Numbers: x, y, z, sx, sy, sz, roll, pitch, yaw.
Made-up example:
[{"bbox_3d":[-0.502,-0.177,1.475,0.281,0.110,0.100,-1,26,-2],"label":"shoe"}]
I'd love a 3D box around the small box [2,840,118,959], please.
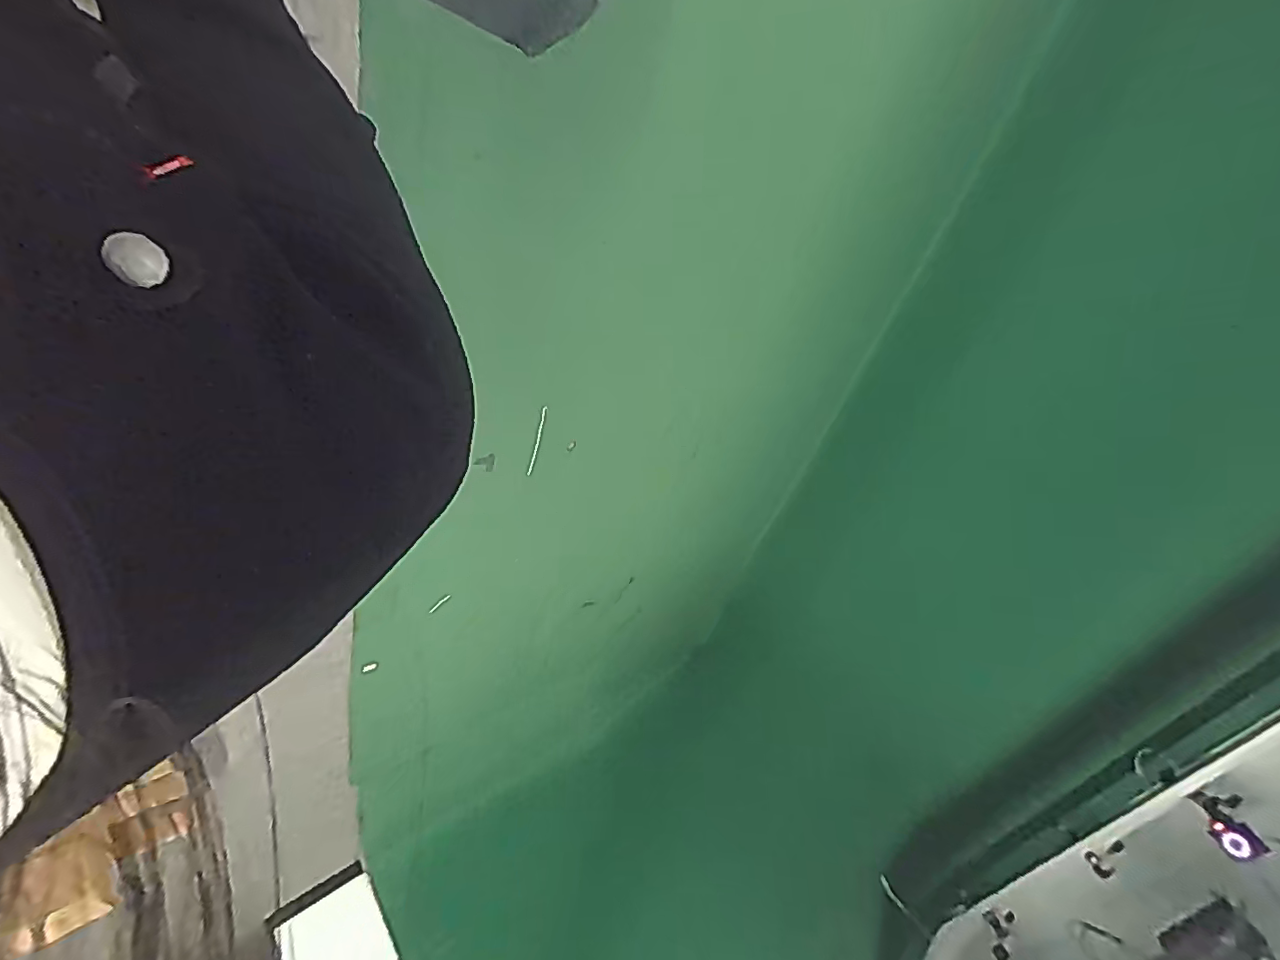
[{"bbox_3d":[-1.582,1.144,1.482,0.179,0.176,0.168,-21,140,-35],"label":"small box"}]

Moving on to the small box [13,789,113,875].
[{"bbox_3d":[-1.693,1.052,1.588,0.168,0.176,0.179,-16,137,-40],"label":"small box"}]
